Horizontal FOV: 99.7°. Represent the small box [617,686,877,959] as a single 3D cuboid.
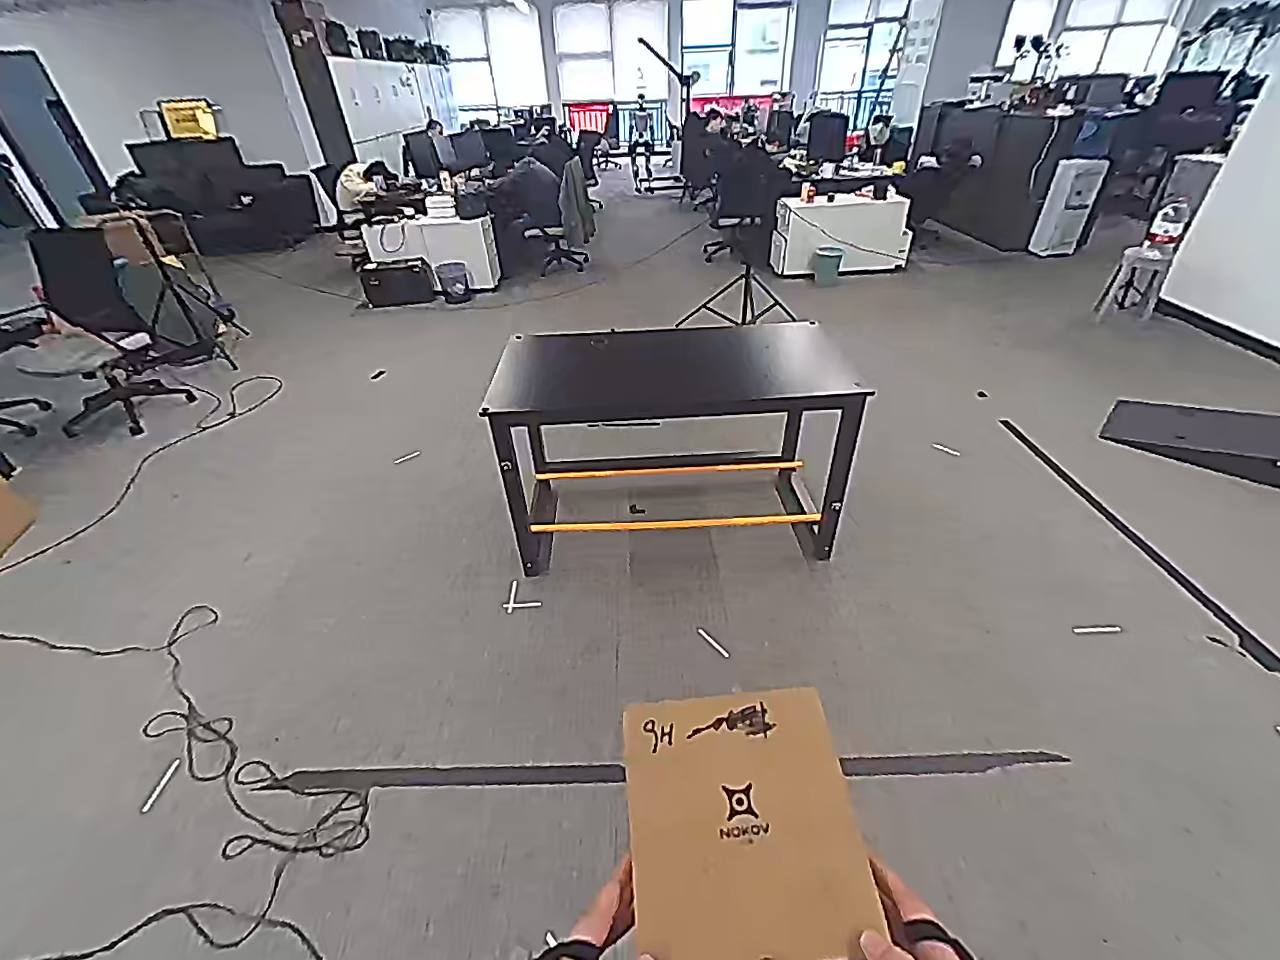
[{"bbox_3d":[0.073,0.299,0.463,0.168,0.176,0.179,-6,49,-1],"label":"small box"}]
